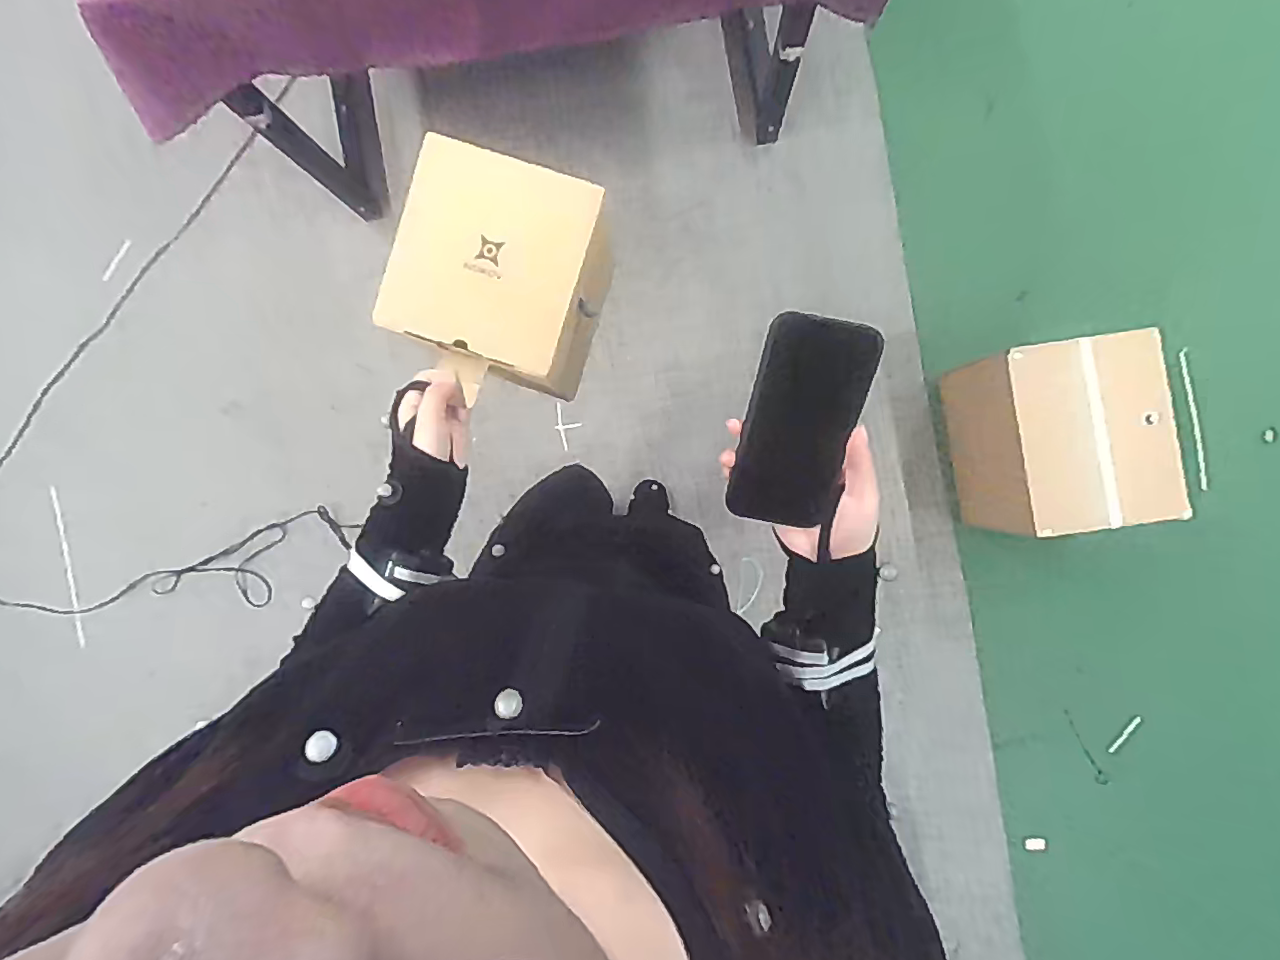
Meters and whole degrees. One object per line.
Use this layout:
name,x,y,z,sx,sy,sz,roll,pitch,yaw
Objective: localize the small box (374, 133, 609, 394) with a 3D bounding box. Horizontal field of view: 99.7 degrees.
small box,-0.133,-0.201,0.556,0.168,0.176,0.179,18,93,0
